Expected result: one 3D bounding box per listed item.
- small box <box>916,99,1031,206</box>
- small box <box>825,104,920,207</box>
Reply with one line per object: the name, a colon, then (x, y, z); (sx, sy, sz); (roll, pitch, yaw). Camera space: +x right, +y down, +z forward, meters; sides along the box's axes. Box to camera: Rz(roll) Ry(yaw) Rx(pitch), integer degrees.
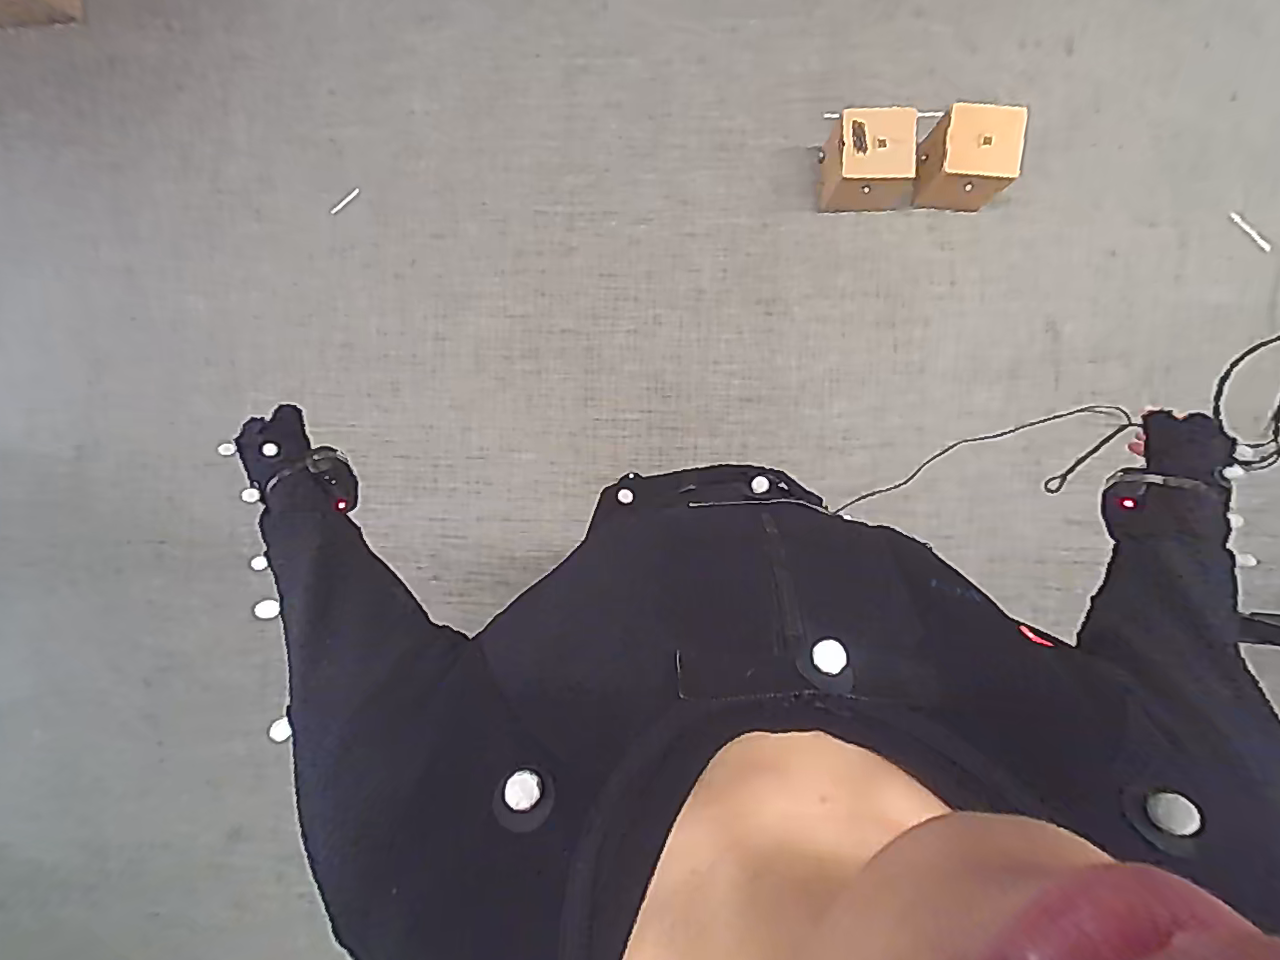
small box: (0.818, -0.801, 1.339); (0.179, 0.176, 0.168); (6, 92, 4)
small box: (0.573, -0.803, 1.352); (0.179, 0.176, 0.168); (1, 92, 2)
